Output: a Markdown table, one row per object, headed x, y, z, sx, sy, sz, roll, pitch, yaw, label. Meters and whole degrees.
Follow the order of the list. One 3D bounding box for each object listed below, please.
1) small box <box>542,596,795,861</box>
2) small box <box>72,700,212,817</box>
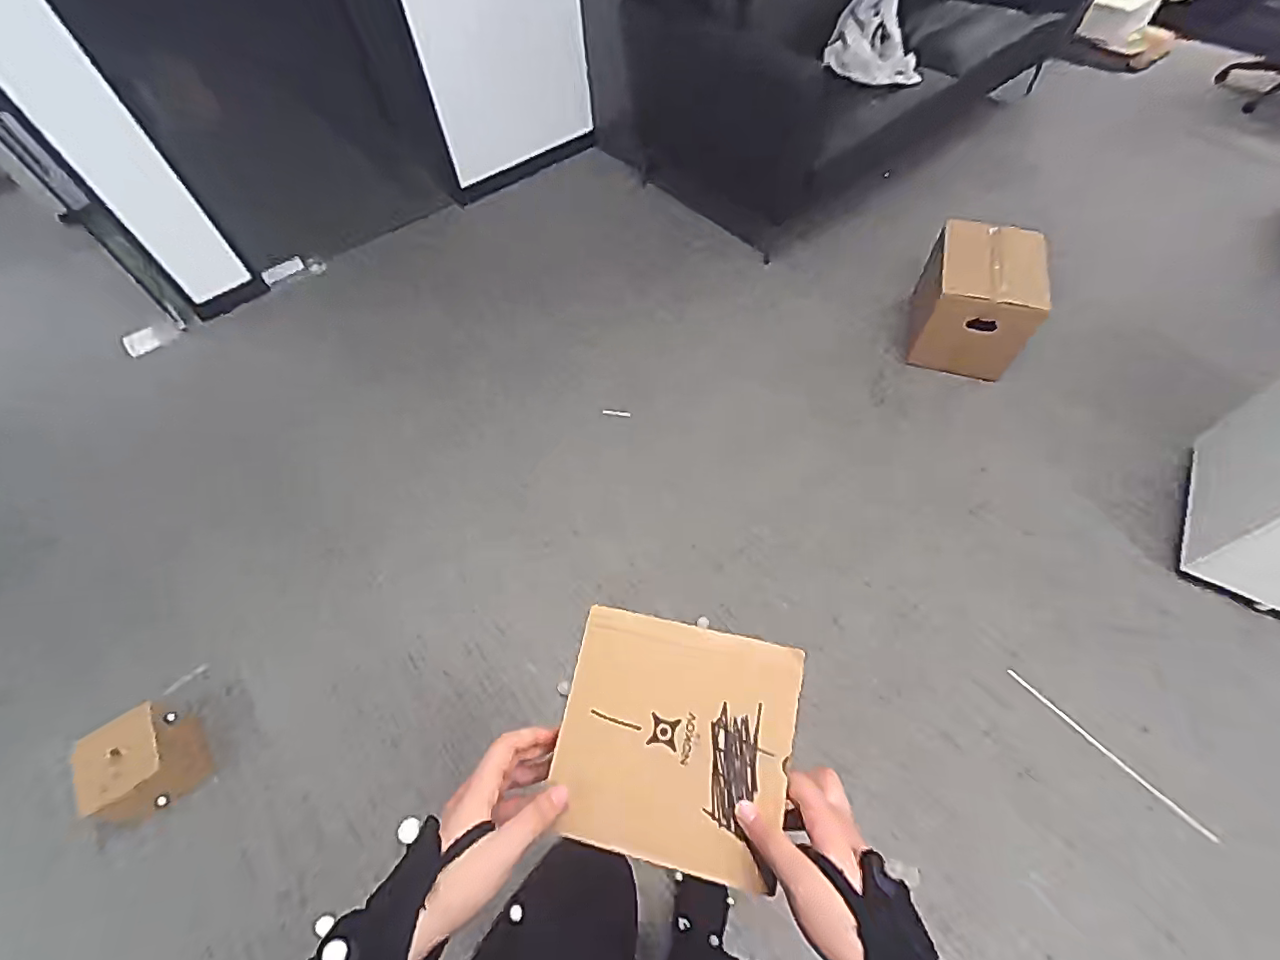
| x | y | z | sx | sy | sz | roll | pitch | yaw | label |
| --- | --- | --- | --- | --- | --- | --- | --- | --- | --- |
| 0.024 | 0.215 | 0.503 | 0.179 | 0.176 | 0.168 | 13 | 71 | 2 | small box |
| -1.138 | 0.645 | 1.244 | 0.168 | 0.176 | 0.179 | -31 | 61 | -16 | small box |
